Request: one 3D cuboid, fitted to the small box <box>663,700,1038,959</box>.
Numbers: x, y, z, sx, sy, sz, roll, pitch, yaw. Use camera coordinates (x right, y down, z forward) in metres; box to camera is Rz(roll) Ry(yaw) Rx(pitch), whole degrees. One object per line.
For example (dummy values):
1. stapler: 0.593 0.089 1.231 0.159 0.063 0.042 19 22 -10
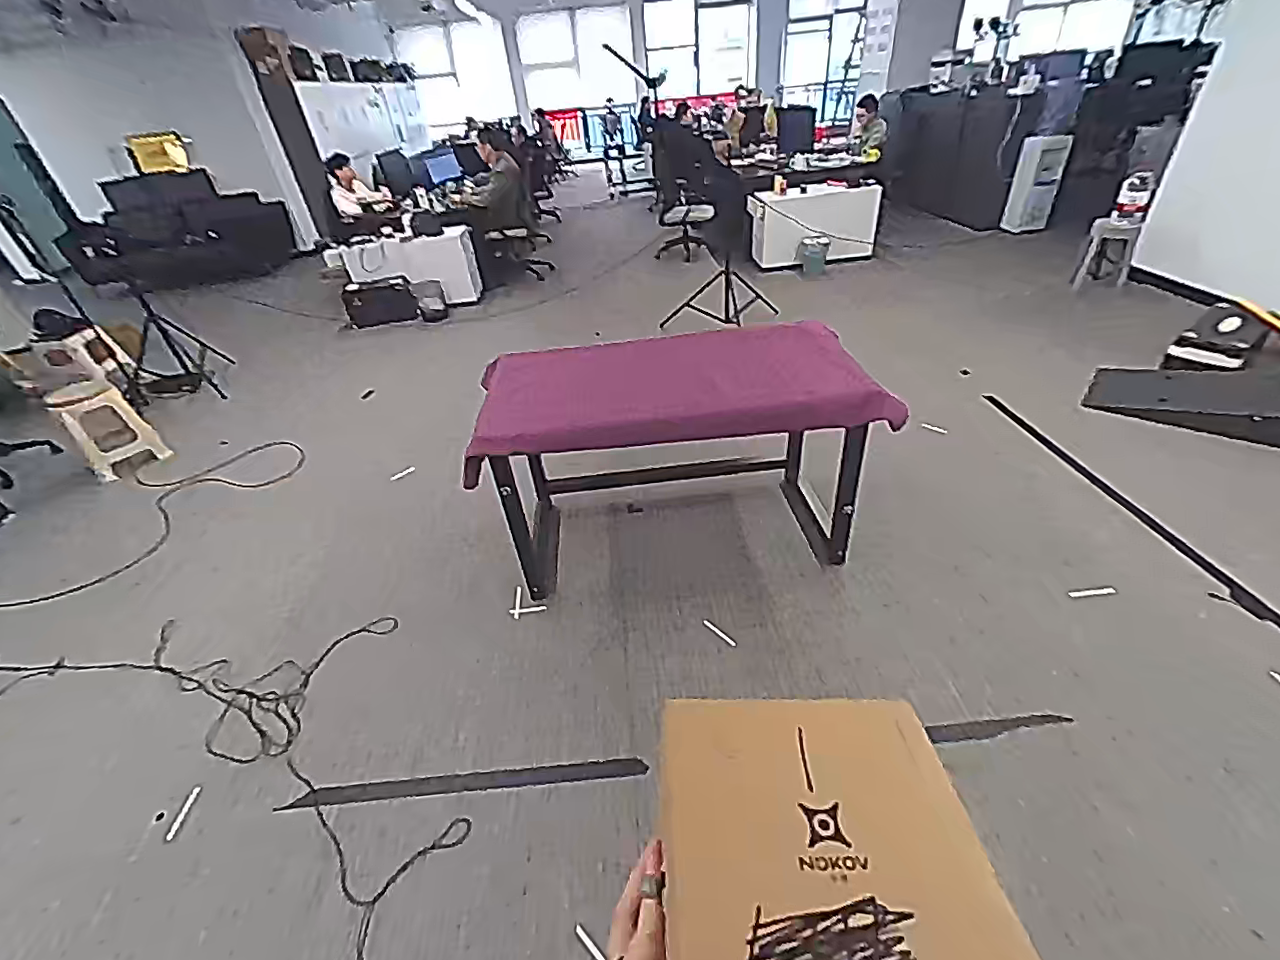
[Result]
1. small box: 0.100 0.262 0.331 0.168 0.176 0.179 1 31 -1
